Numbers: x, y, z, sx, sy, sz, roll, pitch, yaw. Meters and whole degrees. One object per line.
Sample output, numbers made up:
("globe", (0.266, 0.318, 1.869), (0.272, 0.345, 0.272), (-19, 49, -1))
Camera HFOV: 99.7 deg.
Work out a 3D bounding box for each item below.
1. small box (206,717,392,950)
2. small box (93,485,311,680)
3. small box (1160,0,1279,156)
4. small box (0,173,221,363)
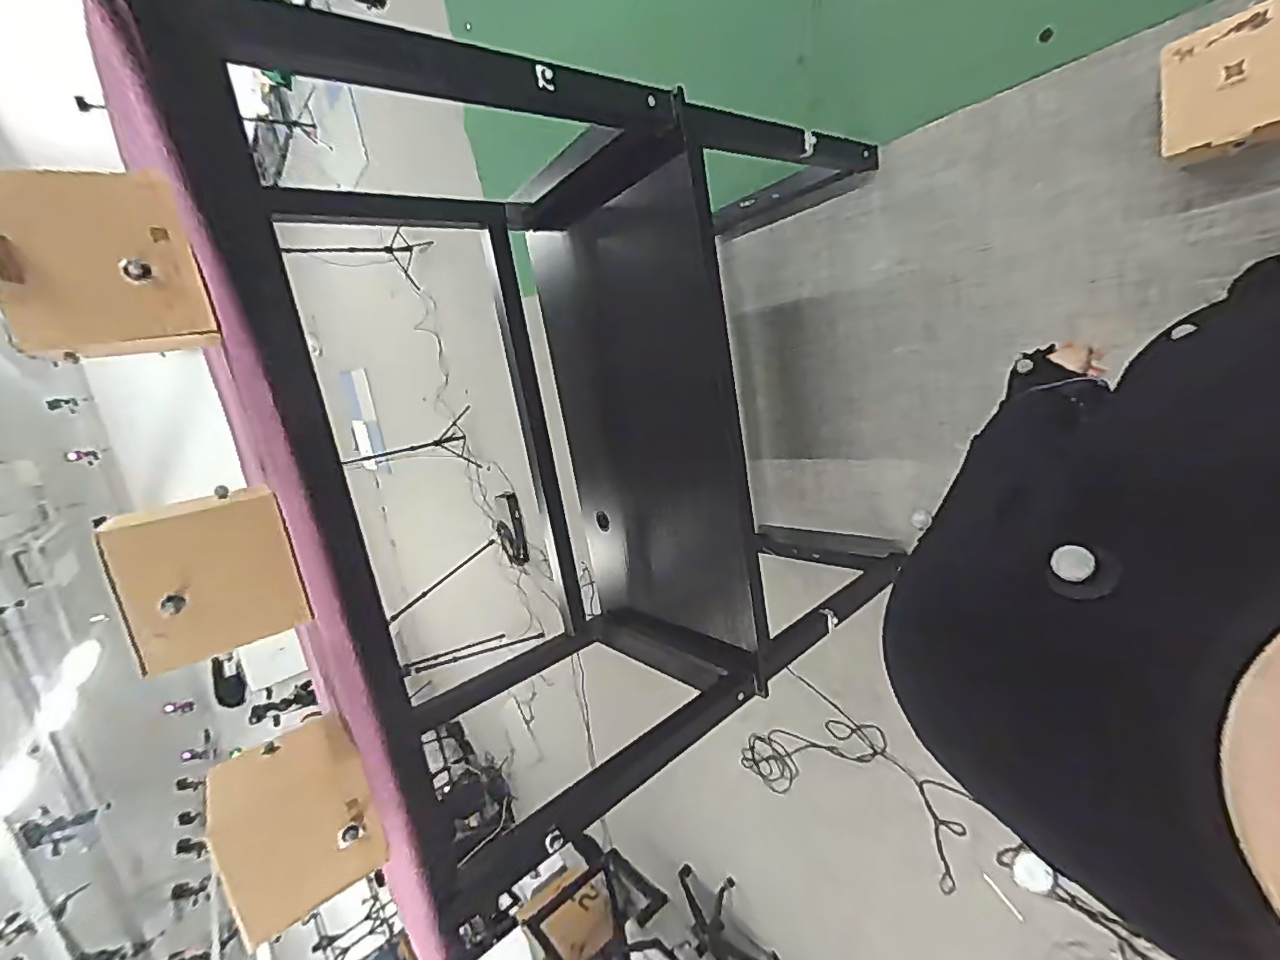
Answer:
("small box", (-0.459, 0.454, 0.734), (0.179, 0.176, 0.168), (-2, 104, 51))
("small box", (-0.544, 0.116, 0.694), (0.168, 0.176, 0.179), (5, 109, 52))
("small box", (0.974, -0.650, 0.877), (0.168, 0.176, 0.179), (2, 107, 52))
("small box", (-0.604, -0.231, 0.617), (0.179, 0.176, 0.168), (9, 114, 52))
